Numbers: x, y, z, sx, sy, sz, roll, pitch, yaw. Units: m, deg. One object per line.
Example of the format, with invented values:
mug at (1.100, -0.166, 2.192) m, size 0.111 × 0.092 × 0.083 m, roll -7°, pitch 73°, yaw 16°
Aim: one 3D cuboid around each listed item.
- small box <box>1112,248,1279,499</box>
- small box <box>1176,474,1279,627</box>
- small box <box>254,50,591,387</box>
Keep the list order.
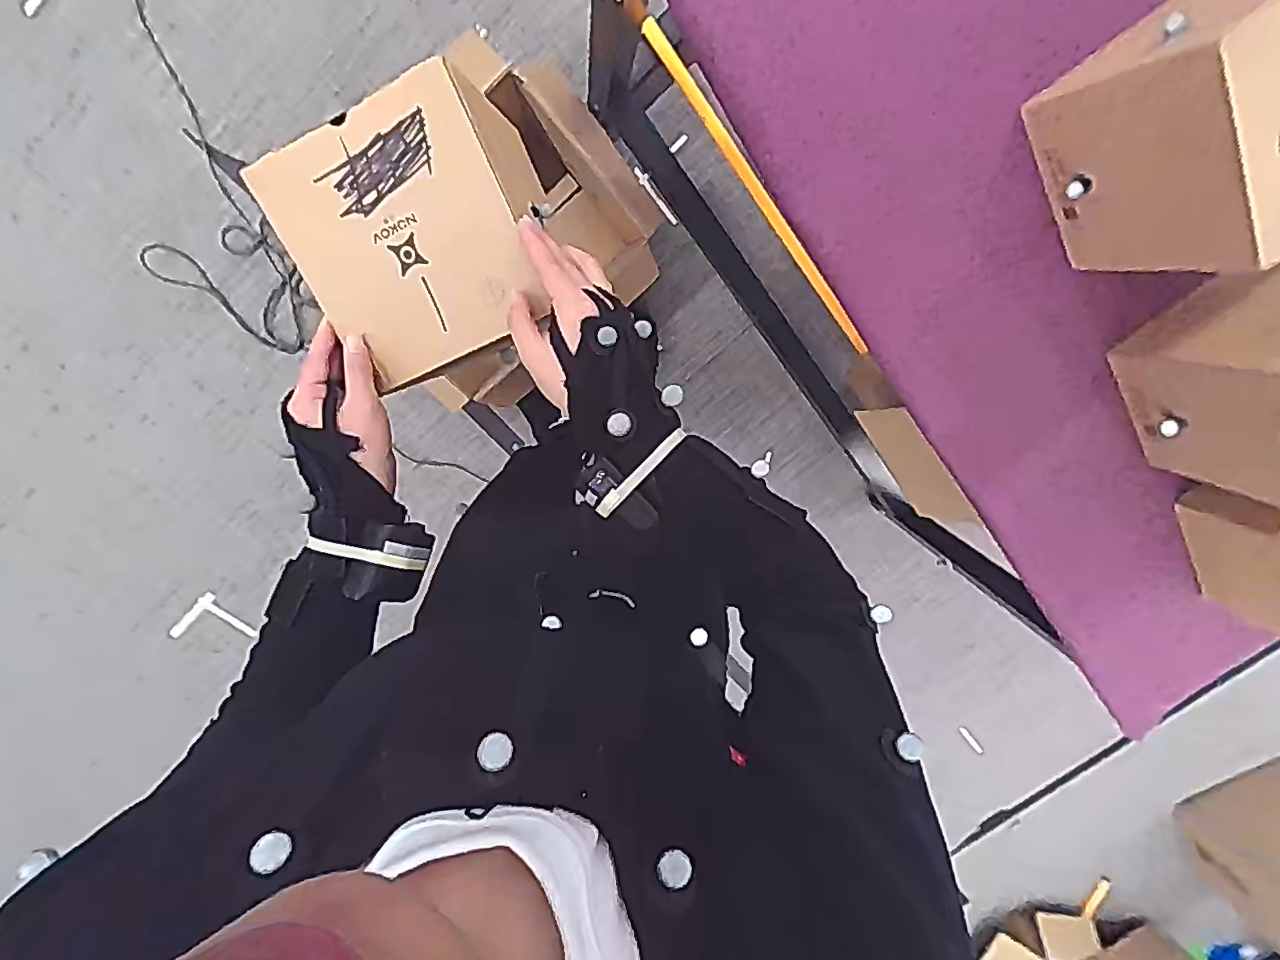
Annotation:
small box at (0.621, -0.107, 0.517) m, size 0.179 × 0.176 × 0.168 m, roll -37°, pitch 110°, yaw 8°
small box at (0.768, 0.065, 0.601) m, size 0.168 × 0.176 × 0.179 m, roll -35°, pitch 110°, yaw 6°
small box at (-0.156, -0.198, 0.456) m, size 0.168 × 0.176 × 0.179 m, roll -20°, pitch 106°, yaw 11°
